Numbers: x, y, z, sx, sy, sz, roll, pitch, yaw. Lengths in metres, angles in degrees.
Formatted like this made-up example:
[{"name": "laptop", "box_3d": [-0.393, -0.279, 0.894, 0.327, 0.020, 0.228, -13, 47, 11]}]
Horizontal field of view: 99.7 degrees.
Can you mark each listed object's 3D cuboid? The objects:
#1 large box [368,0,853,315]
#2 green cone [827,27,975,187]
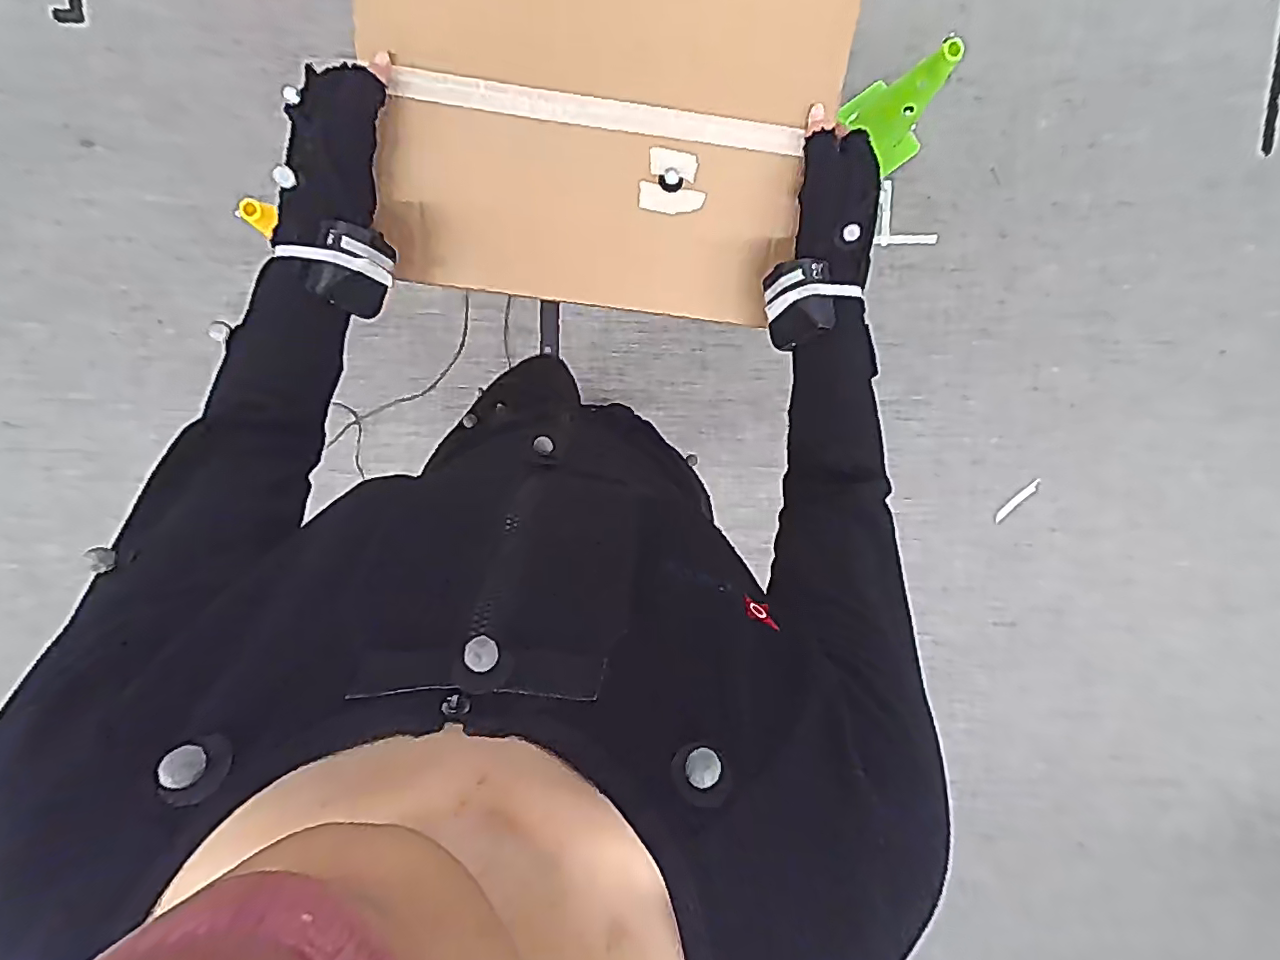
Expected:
[{"name": "large box", "box_3d": [-0.038, -0.371, 0.607, 0.408, 0.320, 0.320, 6, 110, -5]}, {"name": "green cone", "box_3d": [0.589, -0.841, 1.179, 0.202, 0.368, 0.200, -36, 99, 2]}]
